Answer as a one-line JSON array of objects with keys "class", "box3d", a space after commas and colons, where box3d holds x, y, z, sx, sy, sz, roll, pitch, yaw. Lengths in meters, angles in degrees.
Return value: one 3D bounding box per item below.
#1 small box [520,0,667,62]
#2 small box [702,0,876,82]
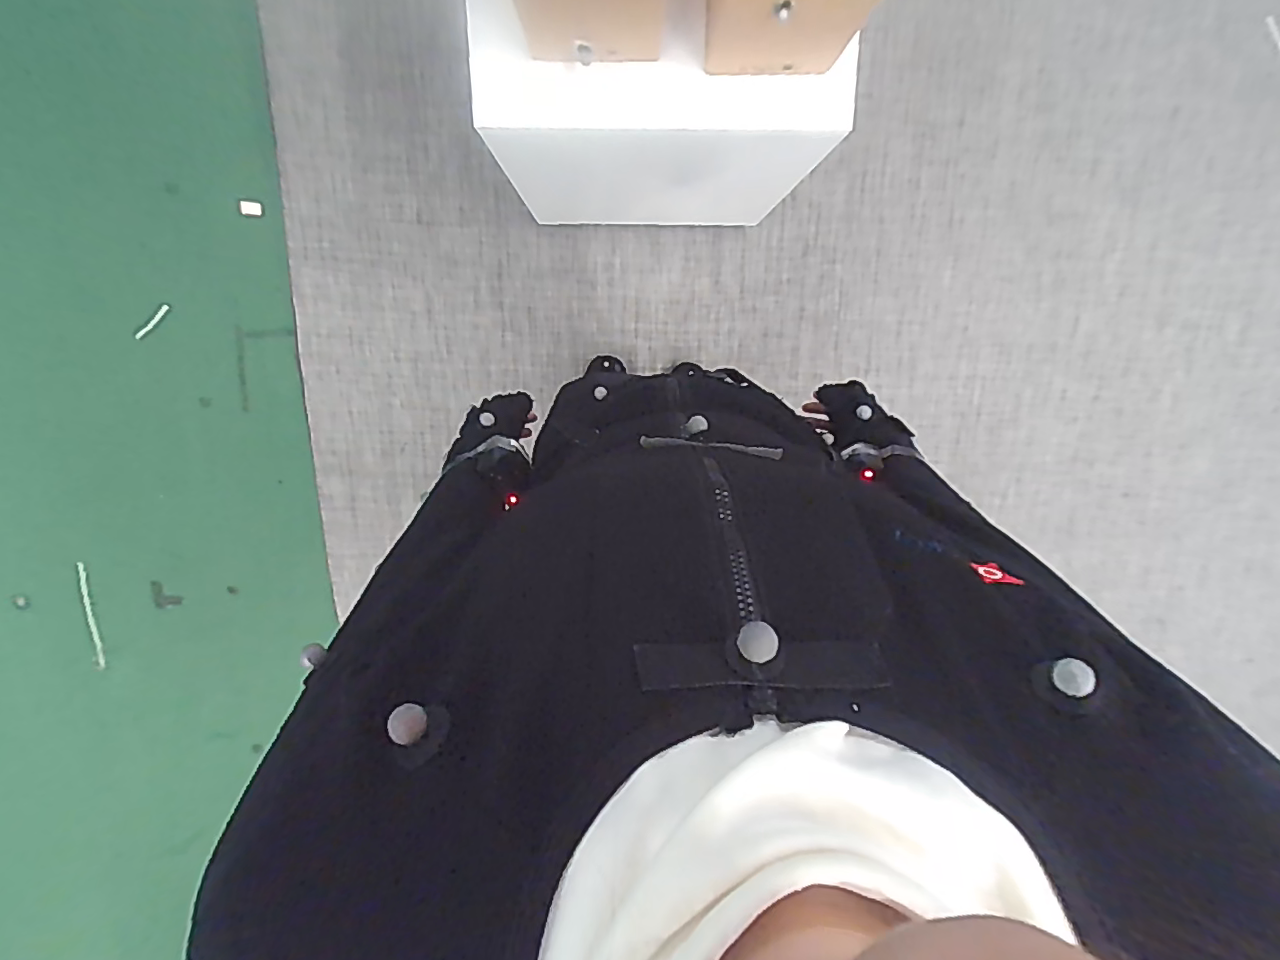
[{"class": "small box", "box3d": [-0.055, -0.605, 0.597, 0.168, 0.176, 0.179, -2, 104, 0]}, {"class": "small box", "box3d": [0.164, -0.598, 0.617, 0.168, 0.176, 0.179, -1, 101, -1]}]
